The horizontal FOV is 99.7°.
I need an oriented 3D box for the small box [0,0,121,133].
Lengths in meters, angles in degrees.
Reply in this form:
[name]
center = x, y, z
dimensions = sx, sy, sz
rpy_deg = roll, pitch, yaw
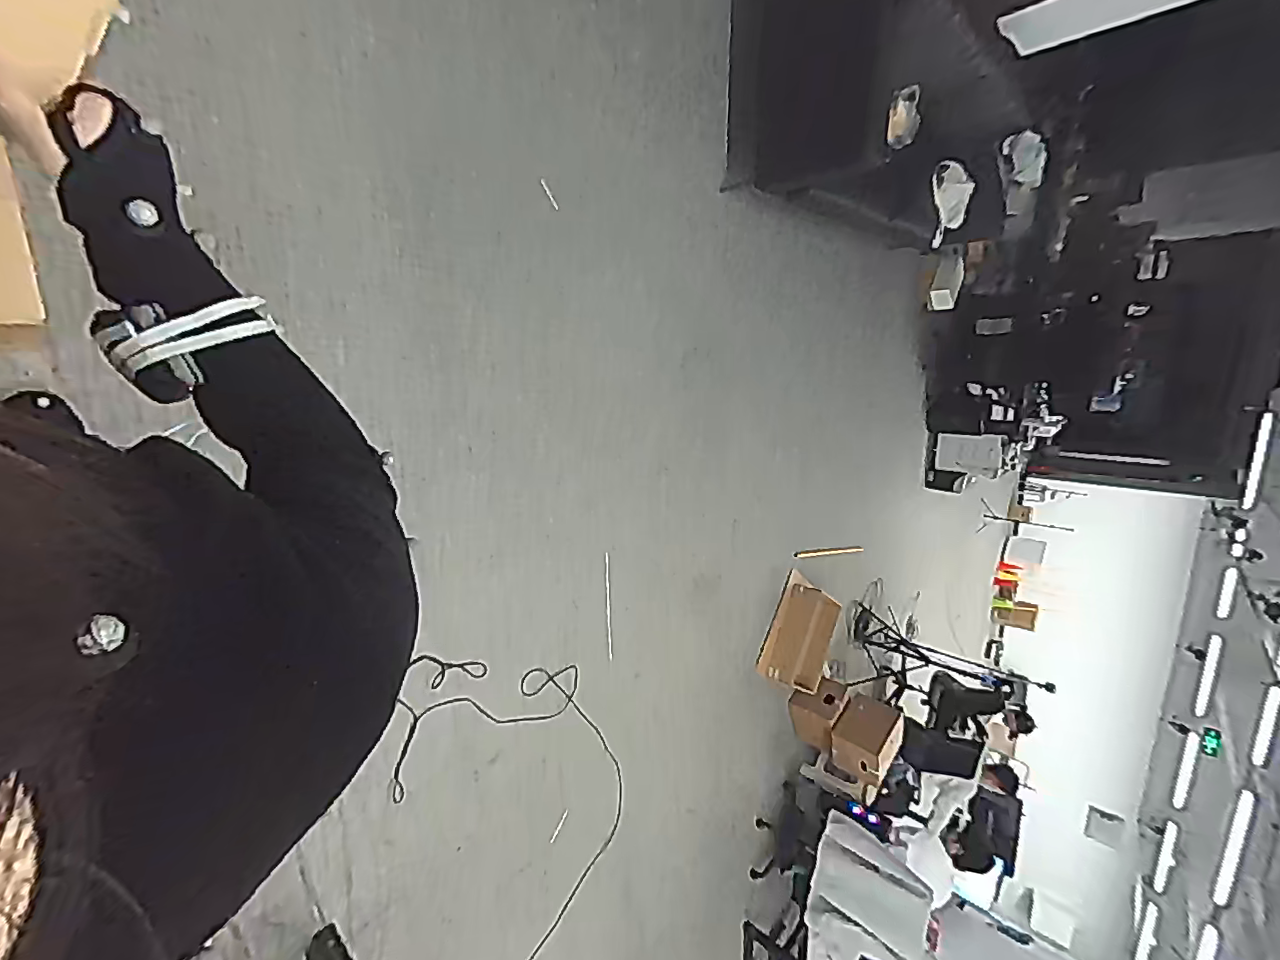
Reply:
[small box]
center = -0.461, -0.352, 0.333
dimensions = 0.179, 0.176, 0.168
rpy_deg = 25, 88, -56
